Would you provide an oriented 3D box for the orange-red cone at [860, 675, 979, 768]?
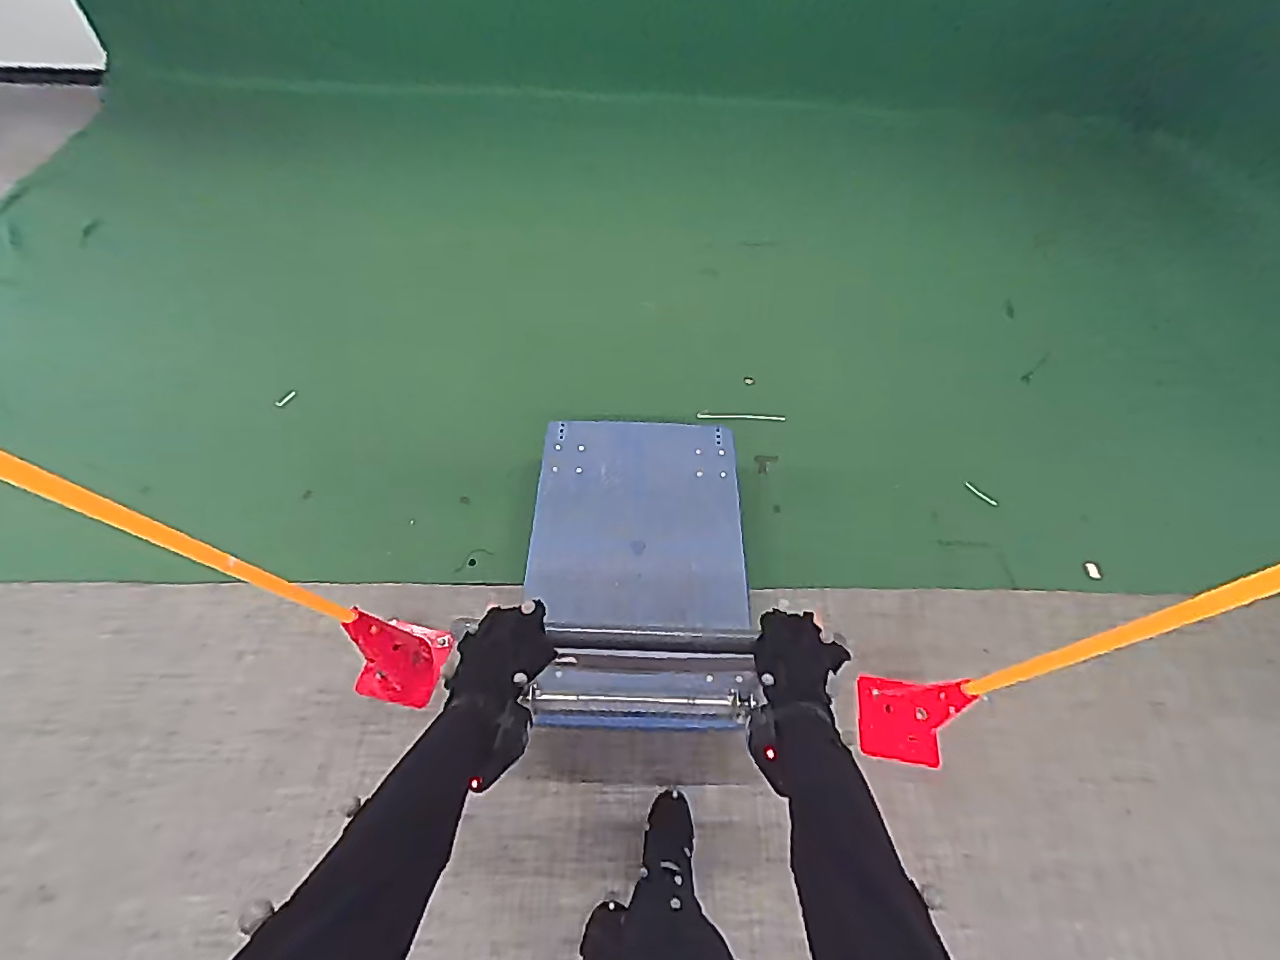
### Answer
[{"bbox_3d":[0.667,0.521,1.239,0.198,0.360,0.199,10,58,5],"label":"orange-red cone"}]
